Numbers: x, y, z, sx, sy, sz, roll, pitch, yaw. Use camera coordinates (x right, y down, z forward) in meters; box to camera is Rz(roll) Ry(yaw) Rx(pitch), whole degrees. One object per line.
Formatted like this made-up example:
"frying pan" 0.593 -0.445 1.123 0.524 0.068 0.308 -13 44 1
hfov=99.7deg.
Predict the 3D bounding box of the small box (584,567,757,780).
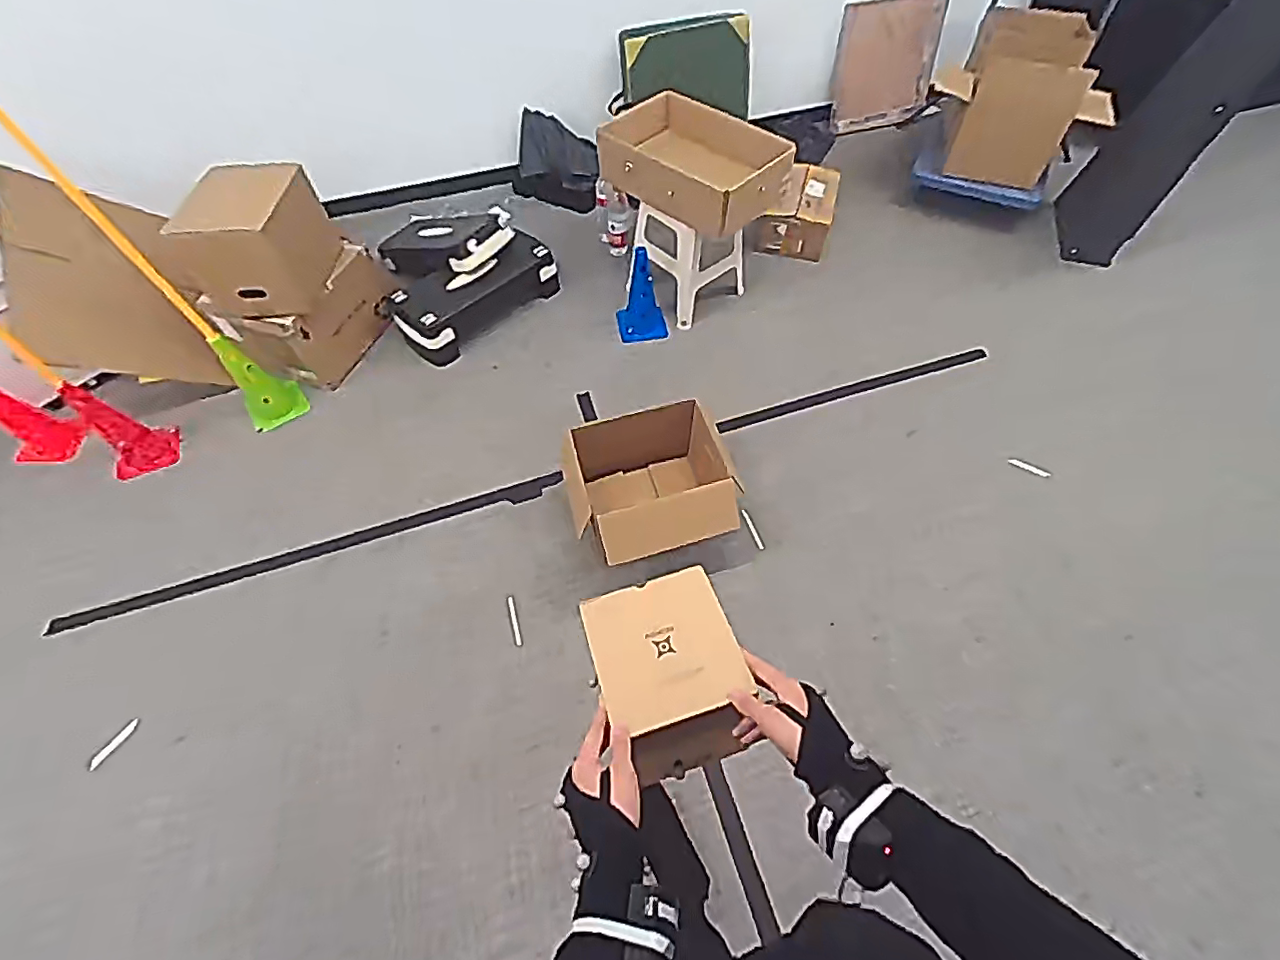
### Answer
"small box" 0.033 0.246 0.692 0.168 0.176 0.179 -15 45 -9
